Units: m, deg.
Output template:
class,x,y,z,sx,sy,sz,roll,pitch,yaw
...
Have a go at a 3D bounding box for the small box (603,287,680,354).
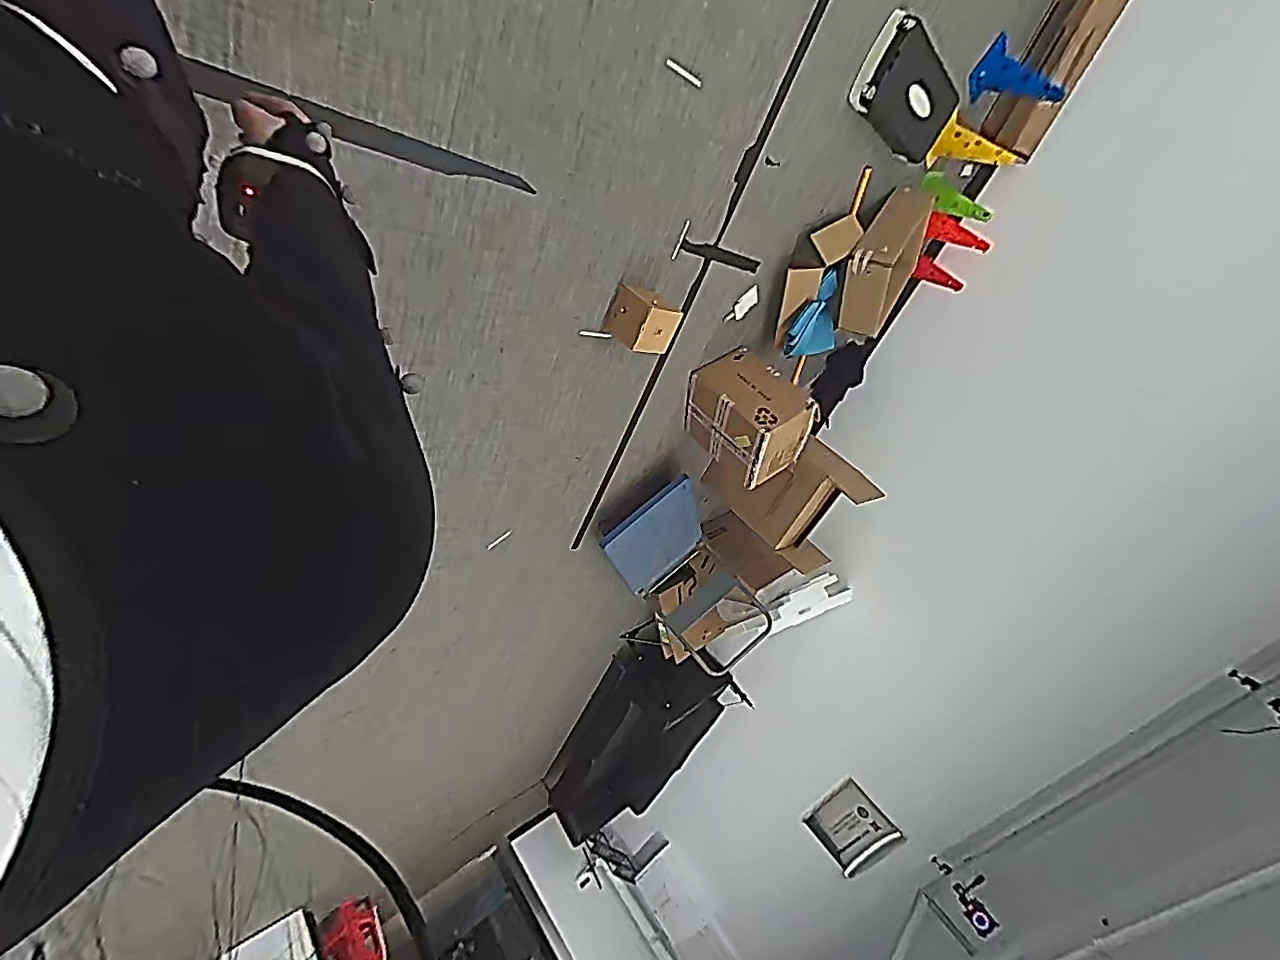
class,x,y,z,sx,sy,sz,roll,pitch,yaw
small box,0.002,-0.570,1.928,0.179,0.176,0.168,-9,136,-46
